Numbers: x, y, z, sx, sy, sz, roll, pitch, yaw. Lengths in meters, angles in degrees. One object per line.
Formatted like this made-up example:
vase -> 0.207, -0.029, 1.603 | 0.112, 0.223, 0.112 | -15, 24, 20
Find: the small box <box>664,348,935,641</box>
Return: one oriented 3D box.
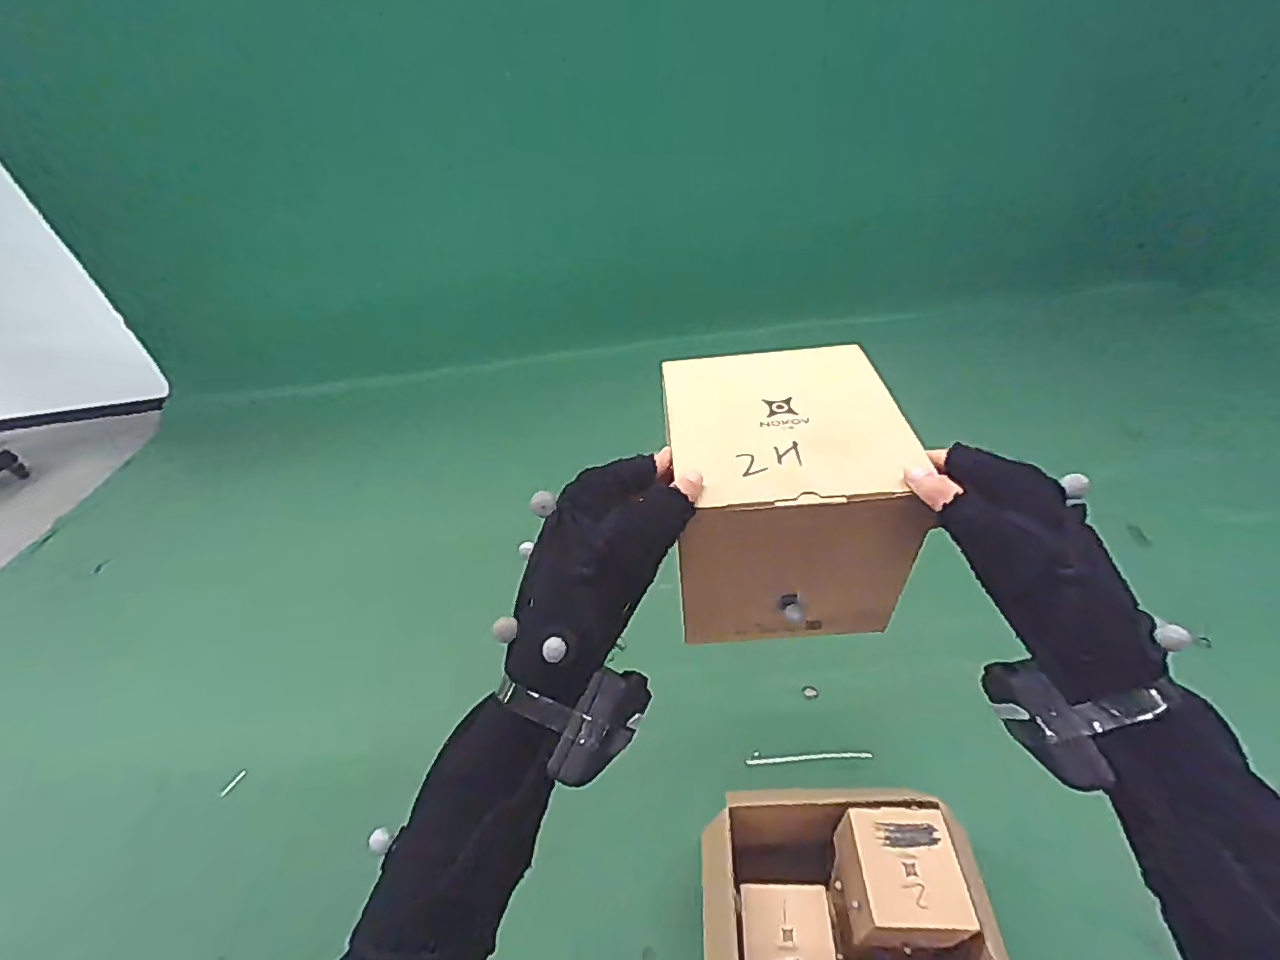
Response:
small box -> 0.108, 0.011, 0.453 | 0.168, 0.176, 0.179 | -5, 44, 3
